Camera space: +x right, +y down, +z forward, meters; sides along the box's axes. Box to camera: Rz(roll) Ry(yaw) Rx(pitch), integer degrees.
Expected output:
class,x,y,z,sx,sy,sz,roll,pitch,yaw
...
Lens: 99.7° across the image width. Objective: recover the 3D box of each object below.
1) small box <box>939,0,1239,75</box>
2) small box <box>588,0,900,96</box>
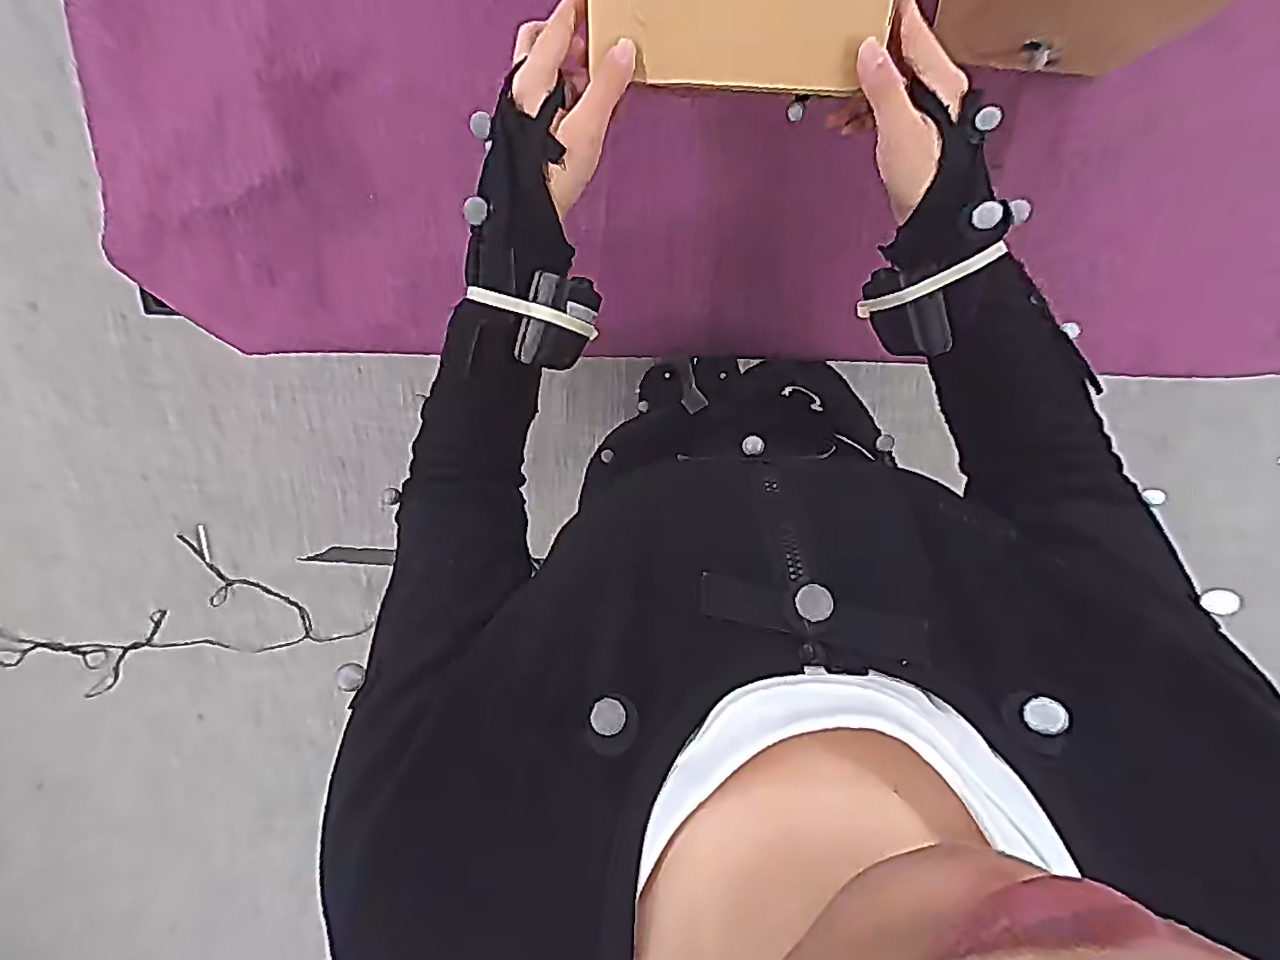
class,x,y,z,sx,sy,sz,roll,pitch,yaw
small box,0.357,-0.445,0.403,0.168,0.176,0.179,6,108,1
small box,0.060,-0.351,0.342,0.179,0.176,0.168,1,123,-2
